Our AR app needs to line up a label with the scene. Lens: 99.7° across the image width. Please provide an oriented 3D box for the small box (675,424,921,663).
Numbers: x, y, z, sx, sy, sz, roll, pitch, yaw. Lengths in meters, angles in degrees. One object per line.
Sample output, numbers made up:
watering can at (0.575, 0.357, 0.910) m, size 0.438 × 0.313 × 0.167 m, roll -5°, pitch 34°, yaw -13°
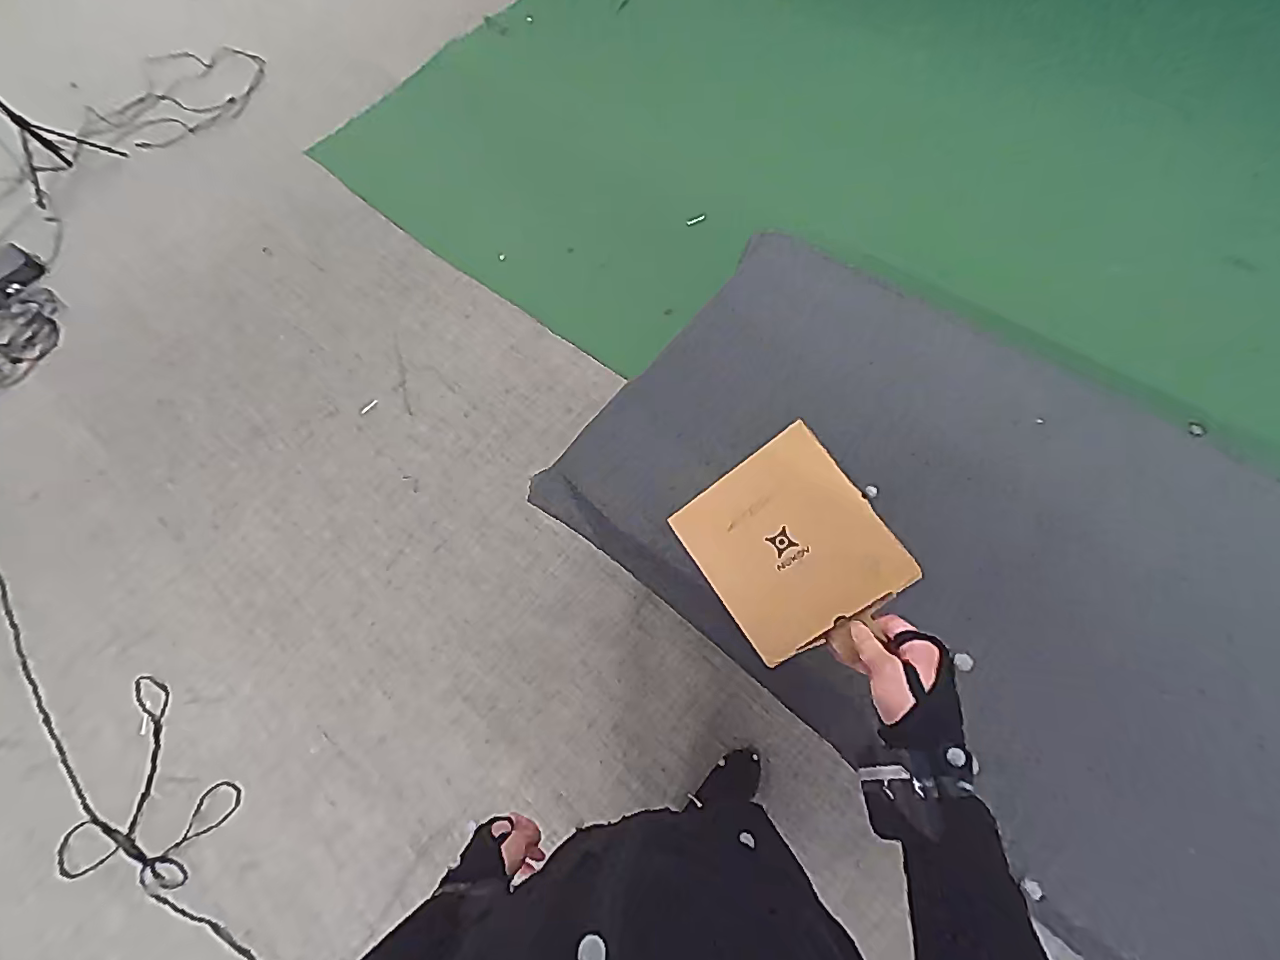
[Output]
small box at (0.172, 0.063, 0.589) m, size 0.168 × 0.176 × 0.179 m, roll -38°, pitch 74°, yaw 15°
